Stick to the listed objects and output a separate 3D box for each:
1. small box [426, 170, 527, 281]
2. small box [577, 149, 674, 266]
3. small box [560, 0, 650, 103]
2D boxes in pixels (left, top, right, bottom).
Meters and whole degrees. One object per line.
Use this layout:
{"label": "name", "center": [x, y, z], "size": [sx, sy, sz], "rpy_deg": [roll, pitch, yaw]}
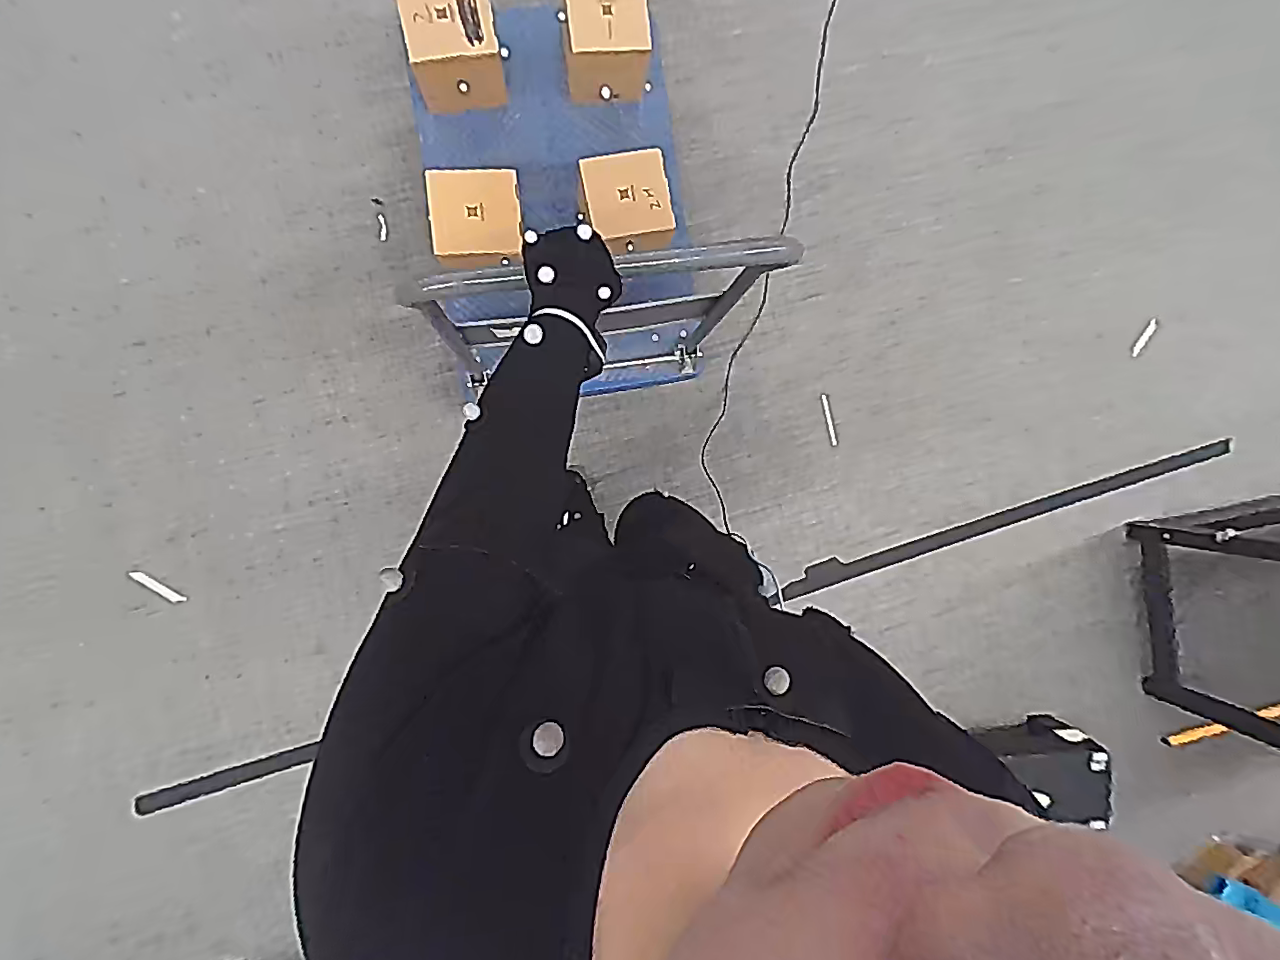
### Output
{"label": "small box", "center": [-0.339, -0.532, 1.149], "size": [0.179, 0.176, 0.168], "rpy_deg": [-6, 93, -9]}
{"label": "small box", "center": [-0.037, -0.588, 1.188], "size": [0.179, 0.176, 0.168], "rpy_deg": [-12, 94, -7]}
{"label": "small box", "center": [-0.081, -0.955, 1.164], "size": [0.168, 0.176, 0.179], "rpy_deg": [-8, 95, -8]}
